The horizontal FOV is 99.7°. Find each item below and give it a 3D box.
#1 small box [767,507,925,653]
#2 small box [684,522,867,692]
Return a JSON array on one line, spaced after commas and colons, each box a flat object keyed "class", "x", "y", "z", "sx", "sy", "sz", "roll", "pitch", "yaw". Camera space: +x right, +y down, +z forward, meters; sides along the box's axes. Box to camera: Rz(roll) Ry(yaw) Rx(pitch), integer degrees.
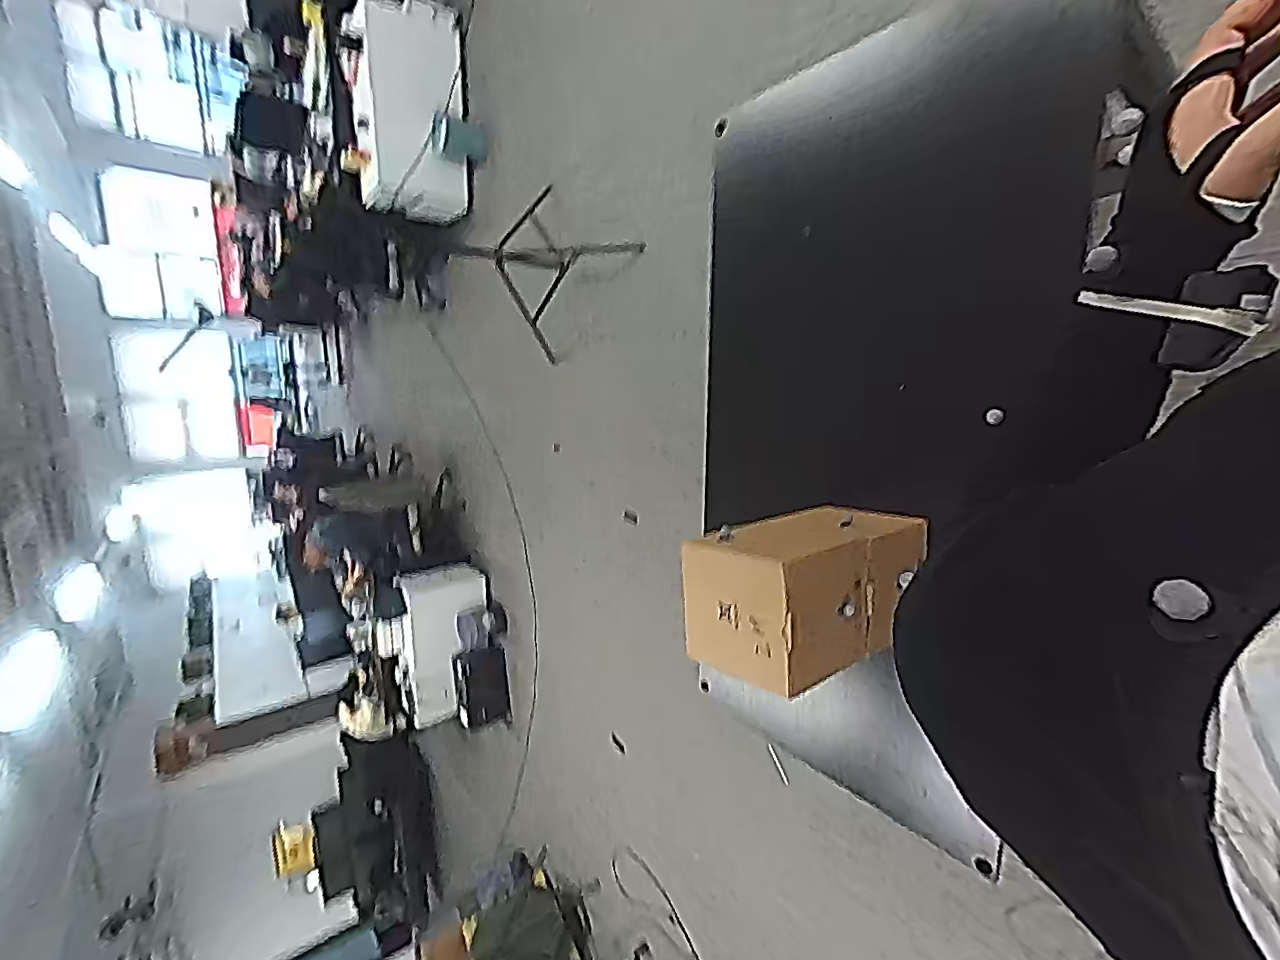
[{"class": "small box", "x": 0.313, "y": 0.137, "z": 0.825, "sx": 0.179, "sy": 0.176, "sz": 0.168, "roll": 6, "pitch": 101, "yaw": 52}, {"class": "small box", "x": 0.179, "y": 0.154, "z": 0.728, "sx": 0.179, "sy": 0.176, "sz": 0.168, "roll": 4, "pitch": 100, "yaw": 52}]
